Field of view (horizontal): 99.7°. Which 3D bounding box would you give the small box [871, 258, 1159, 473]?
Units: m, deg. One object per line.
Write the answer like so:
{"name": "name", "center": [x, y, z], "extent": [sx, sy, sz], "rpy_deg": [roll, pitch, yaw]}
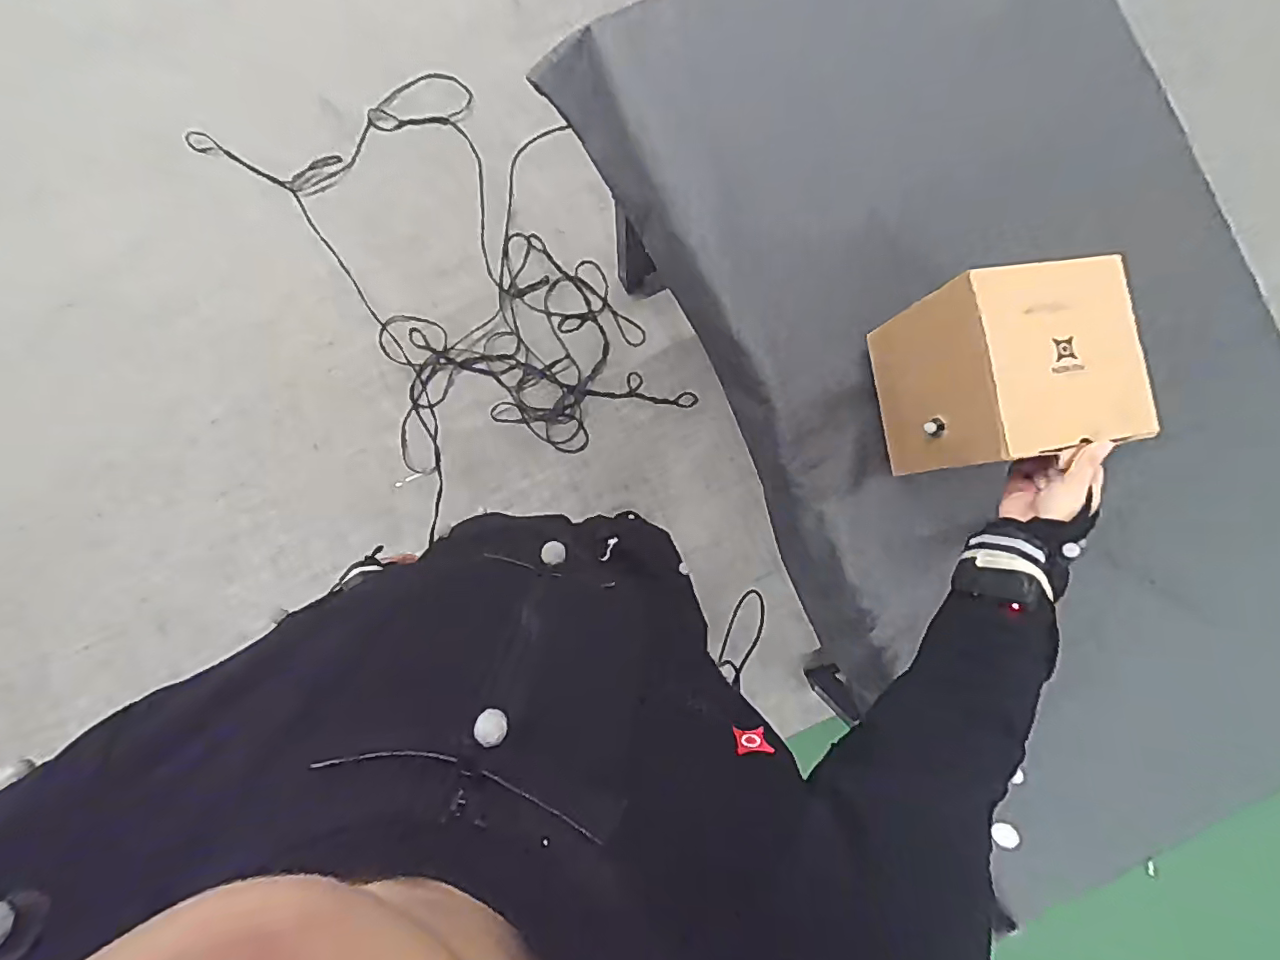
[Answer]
{"name": "small box", "center": [0.375, -0.106, 0.572], "extent": [0.168, 0.176, 0.179], "rpy_deg": [-9, 86, -8]}
